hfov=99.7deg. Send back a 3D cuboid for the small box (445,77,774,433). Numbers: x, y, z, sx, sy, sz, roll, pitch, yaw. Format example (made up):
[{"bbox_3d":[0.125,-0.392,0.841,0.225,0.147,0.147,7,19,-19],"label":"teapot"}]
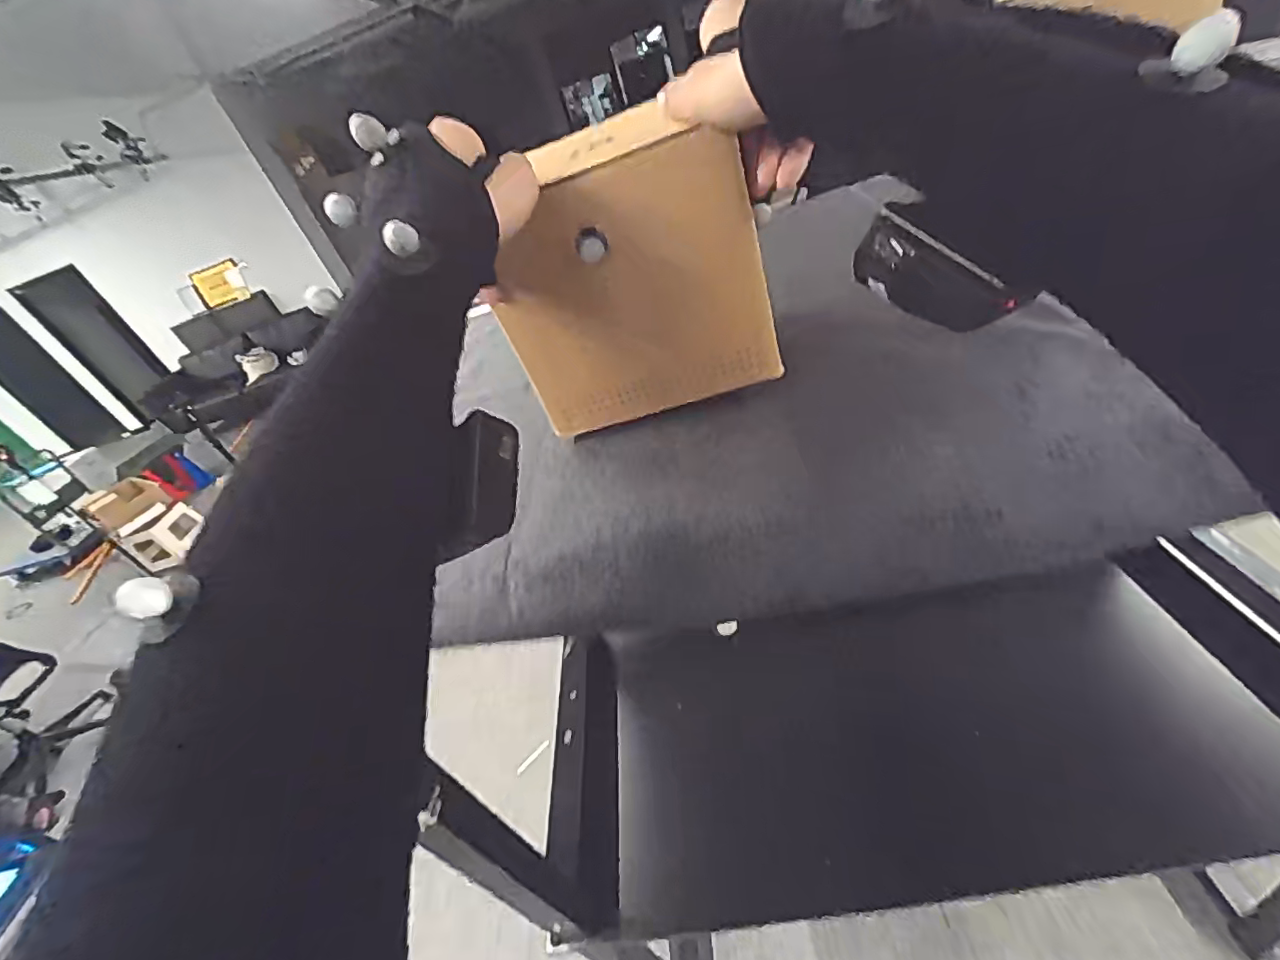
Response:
[{"bbox_3d":[-0.004,-0.160,0.402,0.179,0.176,0.168,-14,39,14],"label":"small box"}]
